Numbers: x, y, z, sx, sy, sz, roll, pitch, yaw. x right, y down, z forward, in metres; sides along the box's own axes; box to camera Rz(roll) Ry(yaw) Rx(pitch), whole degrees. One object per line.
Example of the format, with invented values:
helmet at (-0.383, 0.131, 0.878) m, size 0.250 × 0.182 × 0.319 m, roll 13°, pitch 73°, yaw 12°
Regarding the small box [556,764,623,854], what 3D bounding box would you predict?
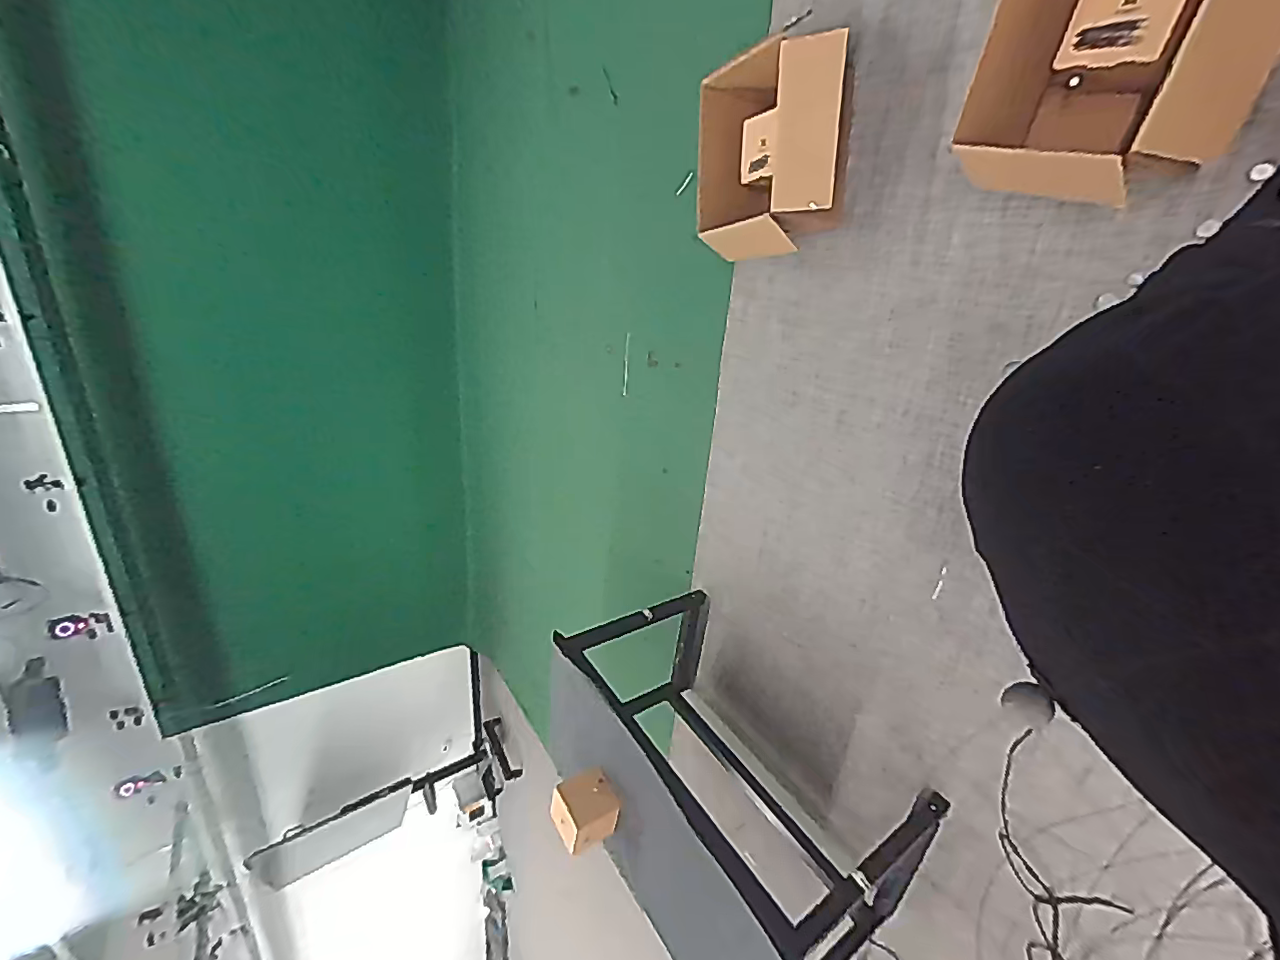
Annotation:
small box at (-0.173, 1.125, 1.857) m, size 0.168 × 0.176 × 0.179 m, roll 43°, pitch 131°, yaw 42°
